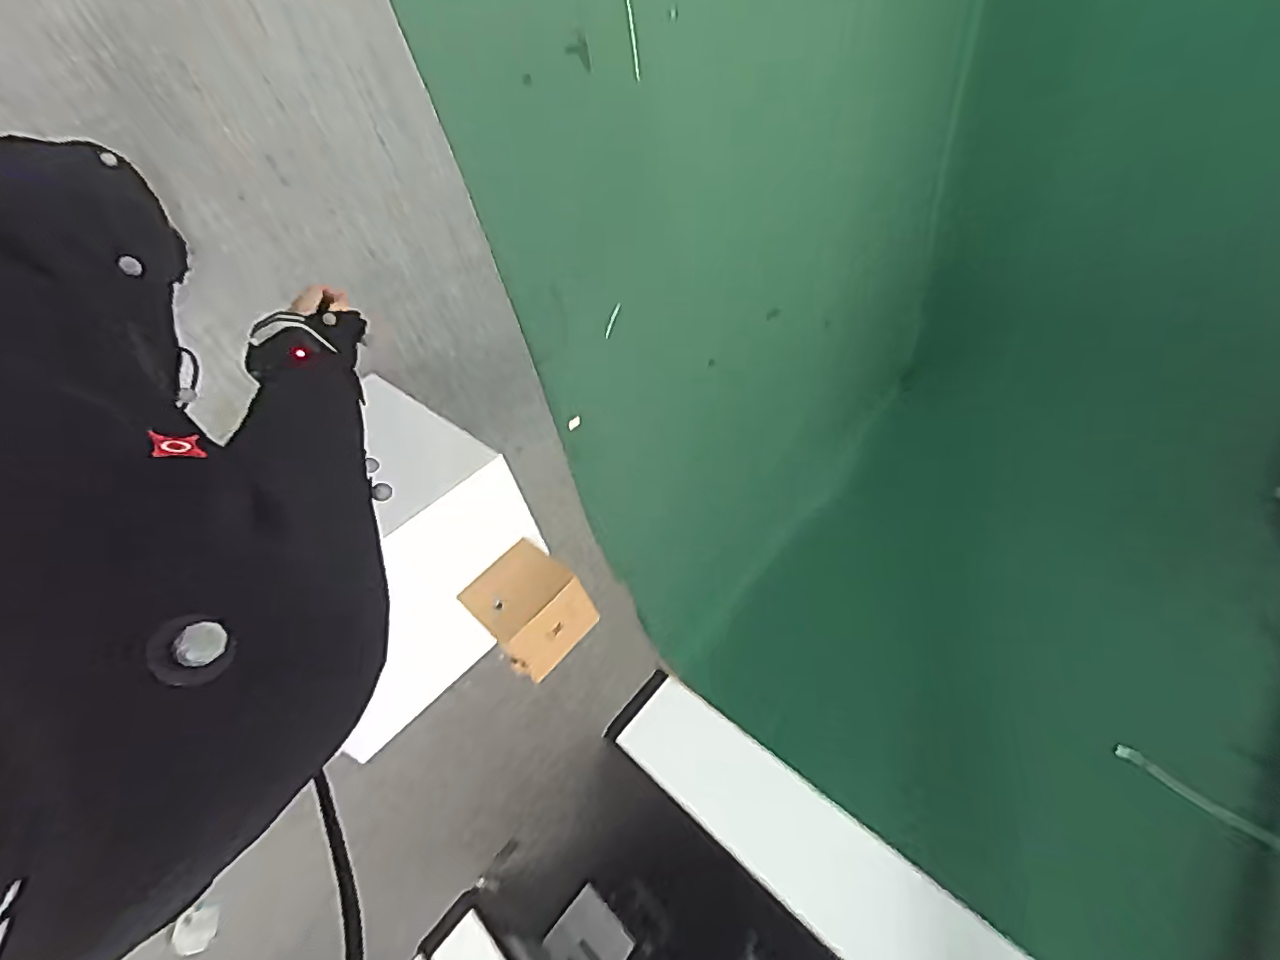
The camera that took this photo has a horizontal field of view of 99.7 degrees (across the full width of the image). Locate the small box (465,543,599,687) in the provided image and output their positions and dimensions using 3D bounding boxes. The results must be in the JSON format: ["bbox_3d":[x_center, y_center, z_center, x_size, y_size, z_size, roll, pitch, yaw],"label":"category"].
[{"bbox_3d":[-0.215,0.259,1.057,0.179,0.176,0.168,-44,141,-23],"label":"small box"}]
